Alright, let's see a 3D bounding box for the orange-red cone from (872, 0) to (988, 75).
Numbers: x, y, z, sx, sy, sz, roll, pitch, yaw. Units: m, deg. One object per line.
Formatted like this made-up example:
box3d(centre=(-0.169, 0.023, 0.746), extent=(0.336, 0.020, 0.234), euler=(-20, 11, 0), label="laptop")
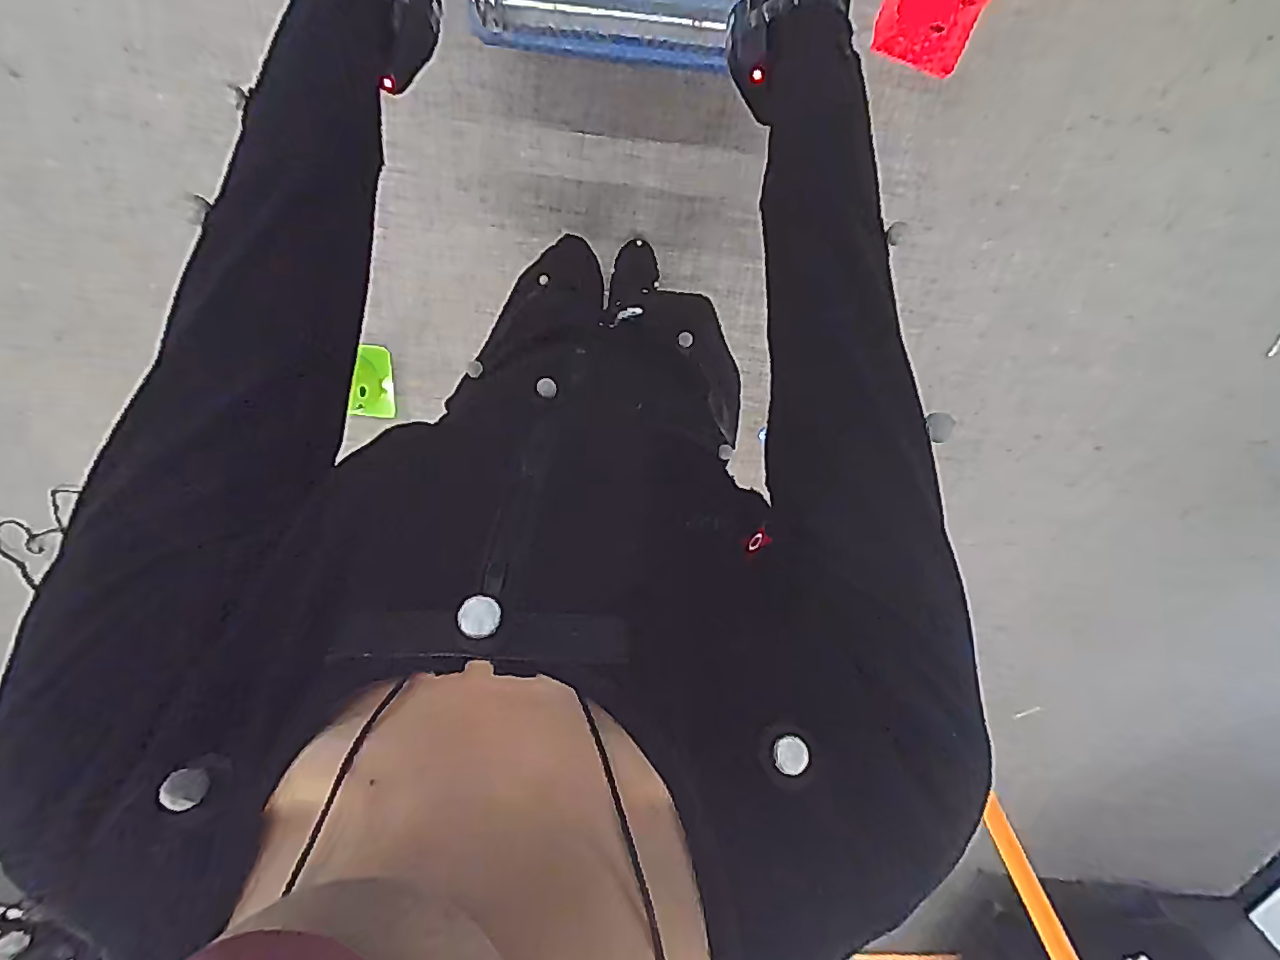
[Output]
box3d(centre=(0.598, -0.892, 0.950), extent=(0.198, 0.360, 0.199), euler=(17, 116, -8), label="orange-red cone")
